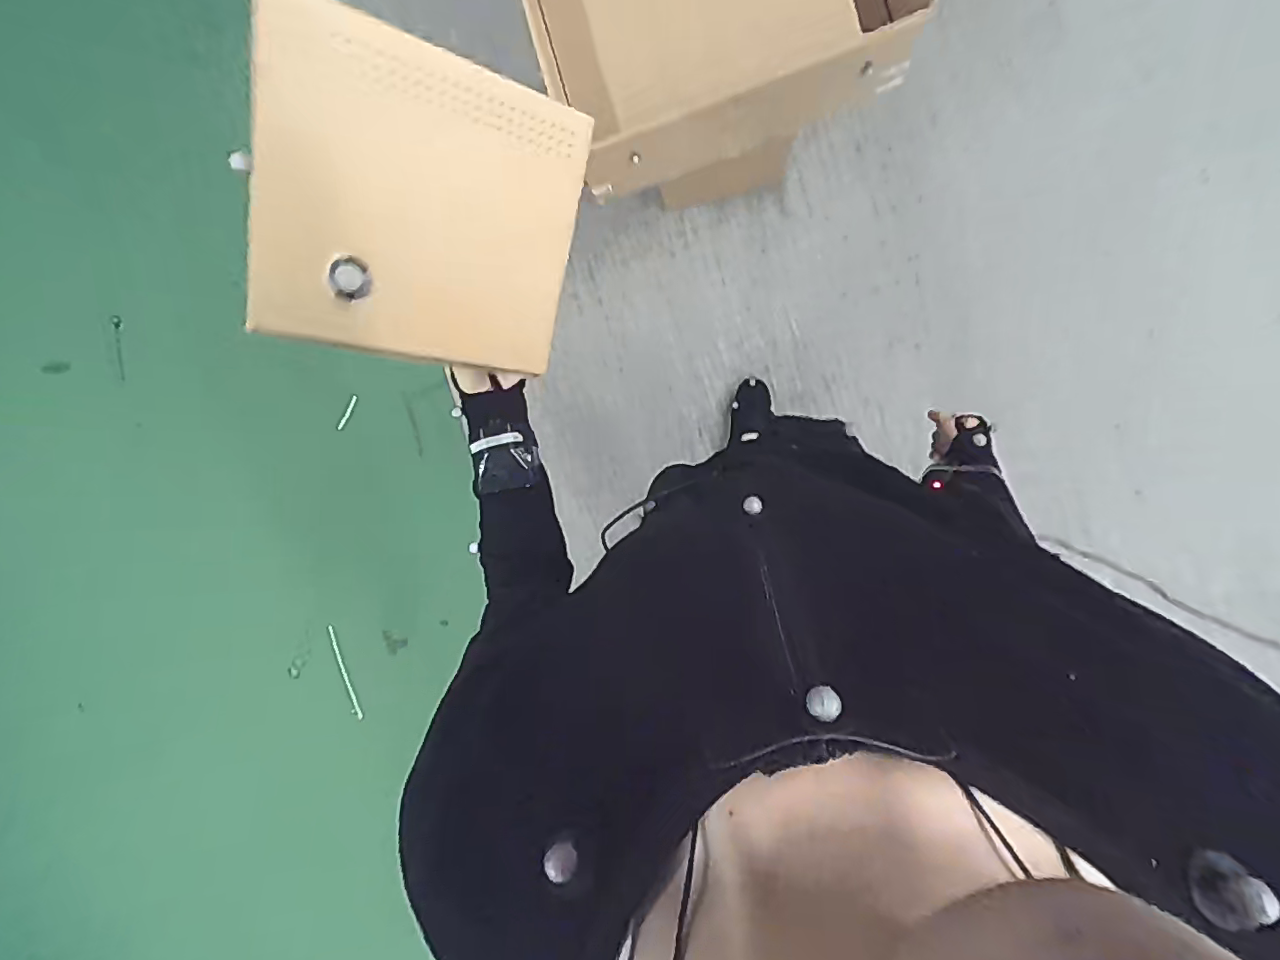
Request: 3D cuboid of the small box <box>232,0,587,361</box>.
[{"bbox_3d":[-0.159,-0.194,0.370,0.179,0.168,0.176,4,110,-34],"label":"small box"}]
